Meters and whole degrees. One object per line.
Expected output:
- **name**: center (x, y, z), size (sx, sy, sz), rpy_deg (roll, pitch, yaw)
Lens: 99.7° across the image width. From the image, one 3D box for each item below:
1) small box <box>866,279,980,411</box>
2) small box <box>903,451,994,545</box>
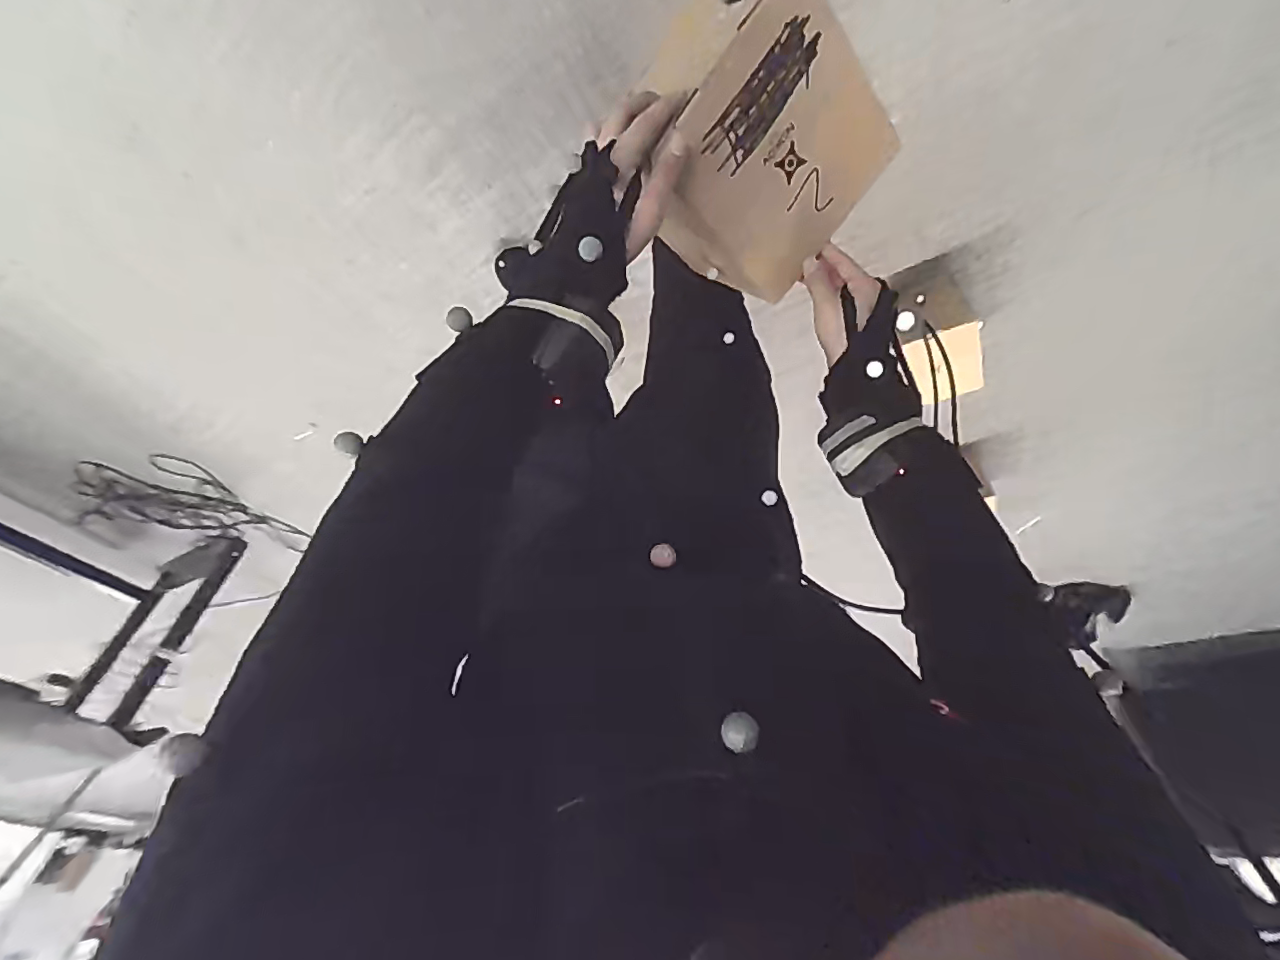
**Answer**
- **small box**: center (0.584, -0.280, 1.122), size (0.168, 0.176, 0.179), rpy_deg (-17, 132, 22)
- **small box**: center (0.821, 0.047, 1.455), size (0.179, 0.176, 0.168), rpy_deg (-15, 135, 19)
